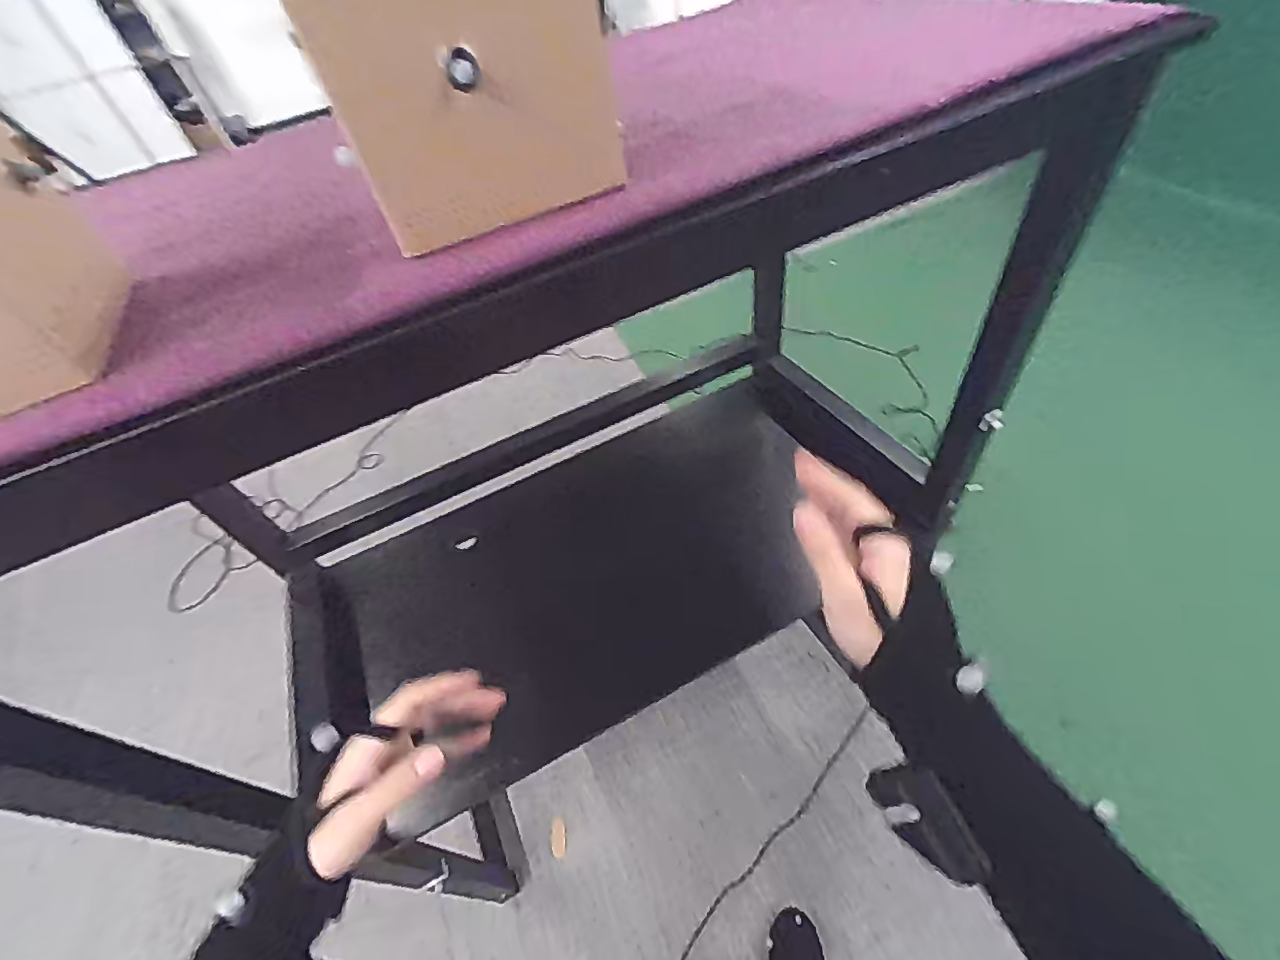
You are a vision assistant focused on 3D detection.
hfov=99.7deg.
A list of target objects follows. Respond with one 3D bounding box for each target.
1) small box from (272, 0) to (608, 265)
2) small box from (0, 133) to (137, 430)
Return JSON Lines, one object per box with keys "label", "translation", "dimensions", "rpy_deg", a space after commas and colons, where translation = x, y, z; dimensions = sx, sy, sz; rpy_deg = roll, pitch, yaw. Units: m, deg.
{"label": "small box", "translation": [-0.134, -0.289, 0.397], "dimensions": [0.179, 0.176, 0.168], "rpy_deg": [-25, 47, -9]}
{"label": "small box", "translation": [-0.455, -0.124, 0.317], "dimensions": [0.168, 0.176, 0.179], "rpy_deg": [-27, 48, -12]}
